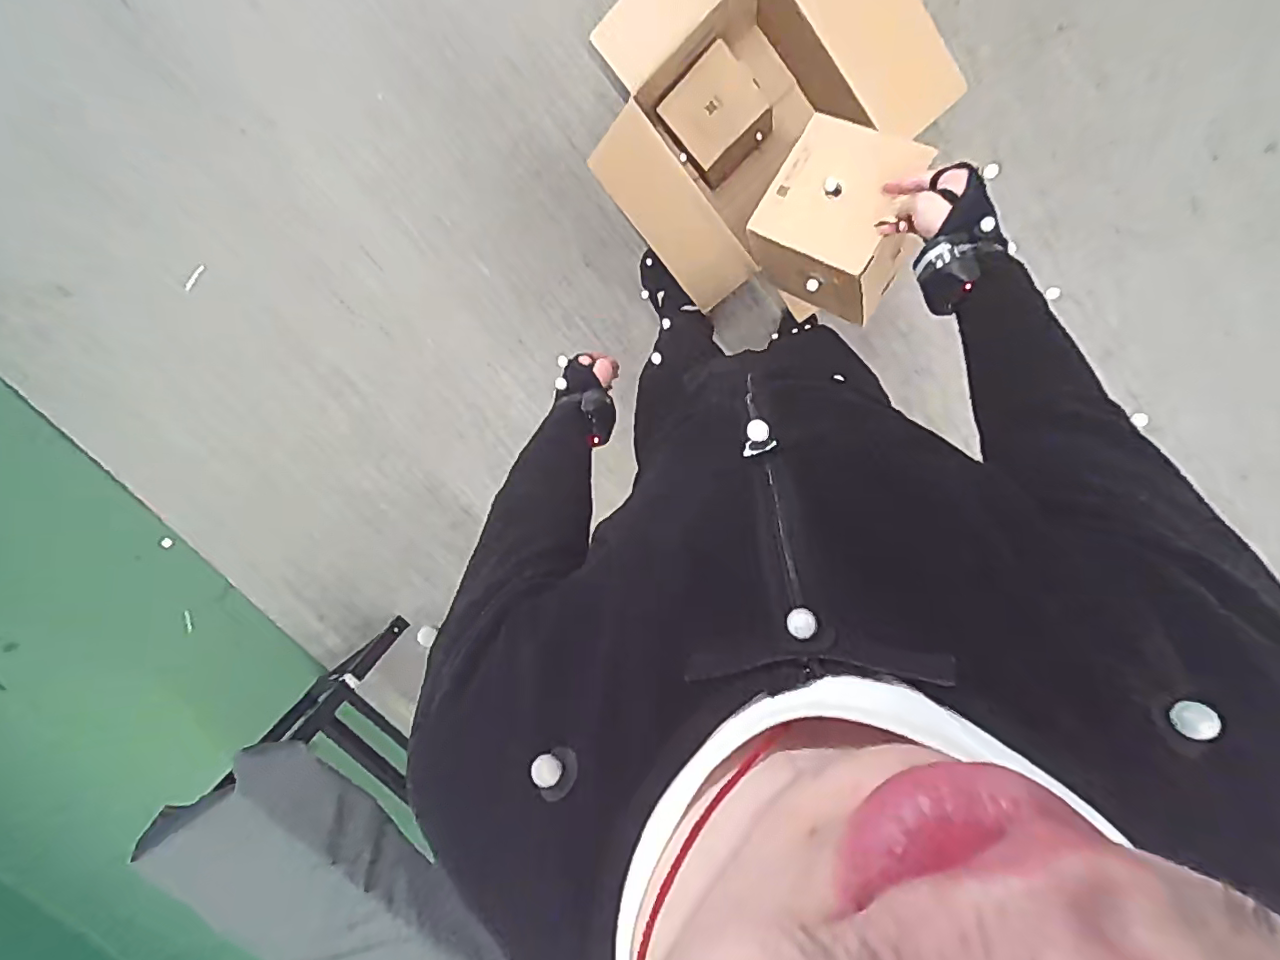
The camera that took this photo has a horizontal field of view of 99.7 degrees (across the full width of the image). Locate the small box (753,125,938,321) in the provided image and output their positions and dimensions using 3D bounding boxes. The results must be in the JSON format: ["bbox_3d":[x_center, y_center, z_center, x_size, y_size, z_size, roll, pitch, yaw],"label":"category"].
[{"bbox_3d":[0.278,-0.348,0.739,0.176,0.179,0.168,34,101,24],"label":"small box"}]
